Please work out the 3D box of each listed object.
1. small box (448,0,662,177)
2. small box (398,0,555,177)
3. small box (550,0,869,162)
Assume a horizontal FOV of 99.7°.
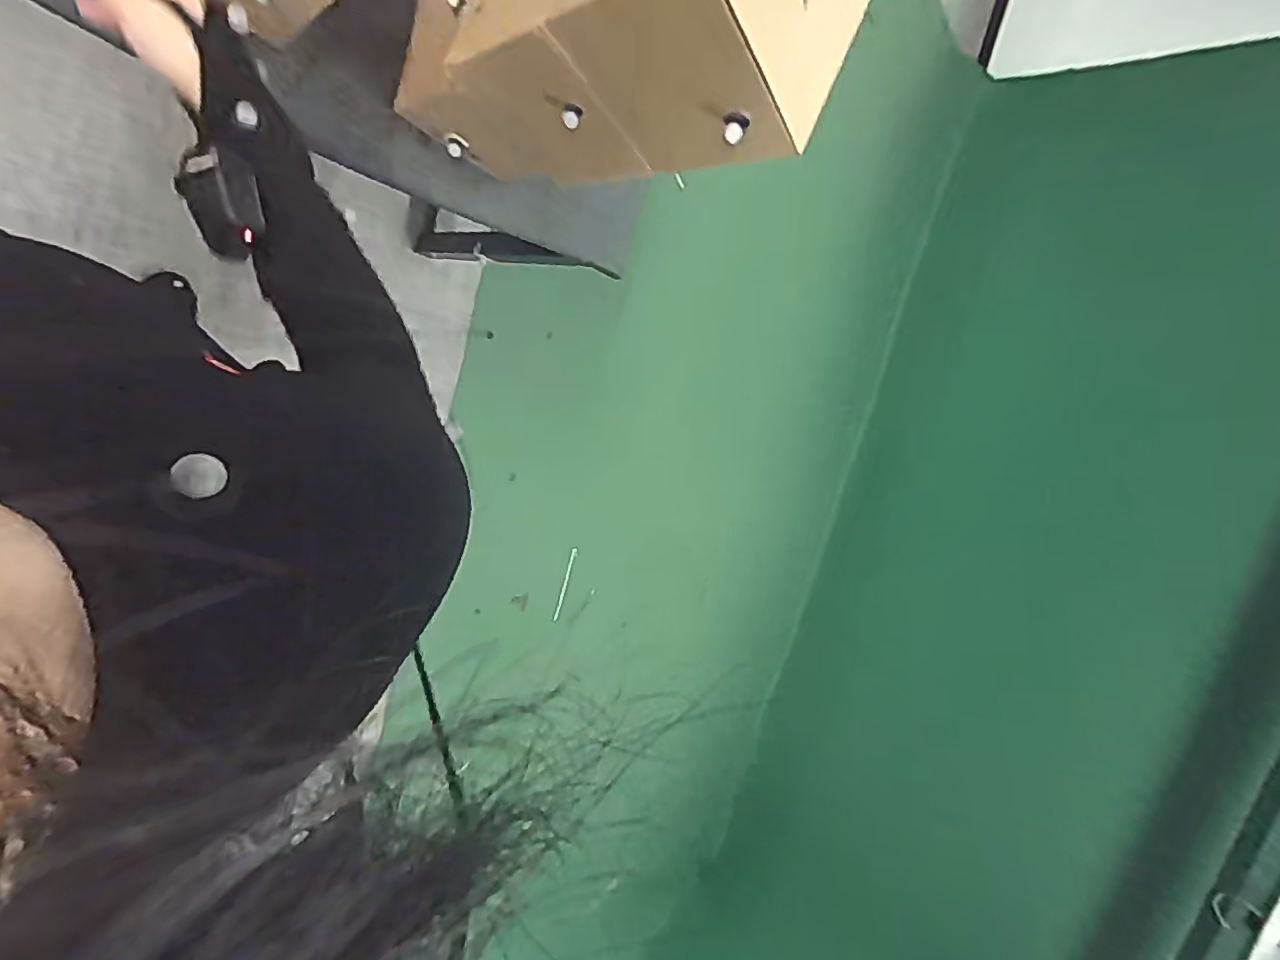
[{"bbox_3d":[-0.059,-0.442,0.558,0.179,0.176,0.168,26,87,-49],"label":"small box"},{"bbox_3d":[-0.170,-0.503,0.661,0.168,0.176,0.179,10,99,-48],"label":"small box"},{"bbox_3d":[0.061,-0.398,0.453,0.179,0.176,0.168,28,84,-48],"label":"small box"}]
